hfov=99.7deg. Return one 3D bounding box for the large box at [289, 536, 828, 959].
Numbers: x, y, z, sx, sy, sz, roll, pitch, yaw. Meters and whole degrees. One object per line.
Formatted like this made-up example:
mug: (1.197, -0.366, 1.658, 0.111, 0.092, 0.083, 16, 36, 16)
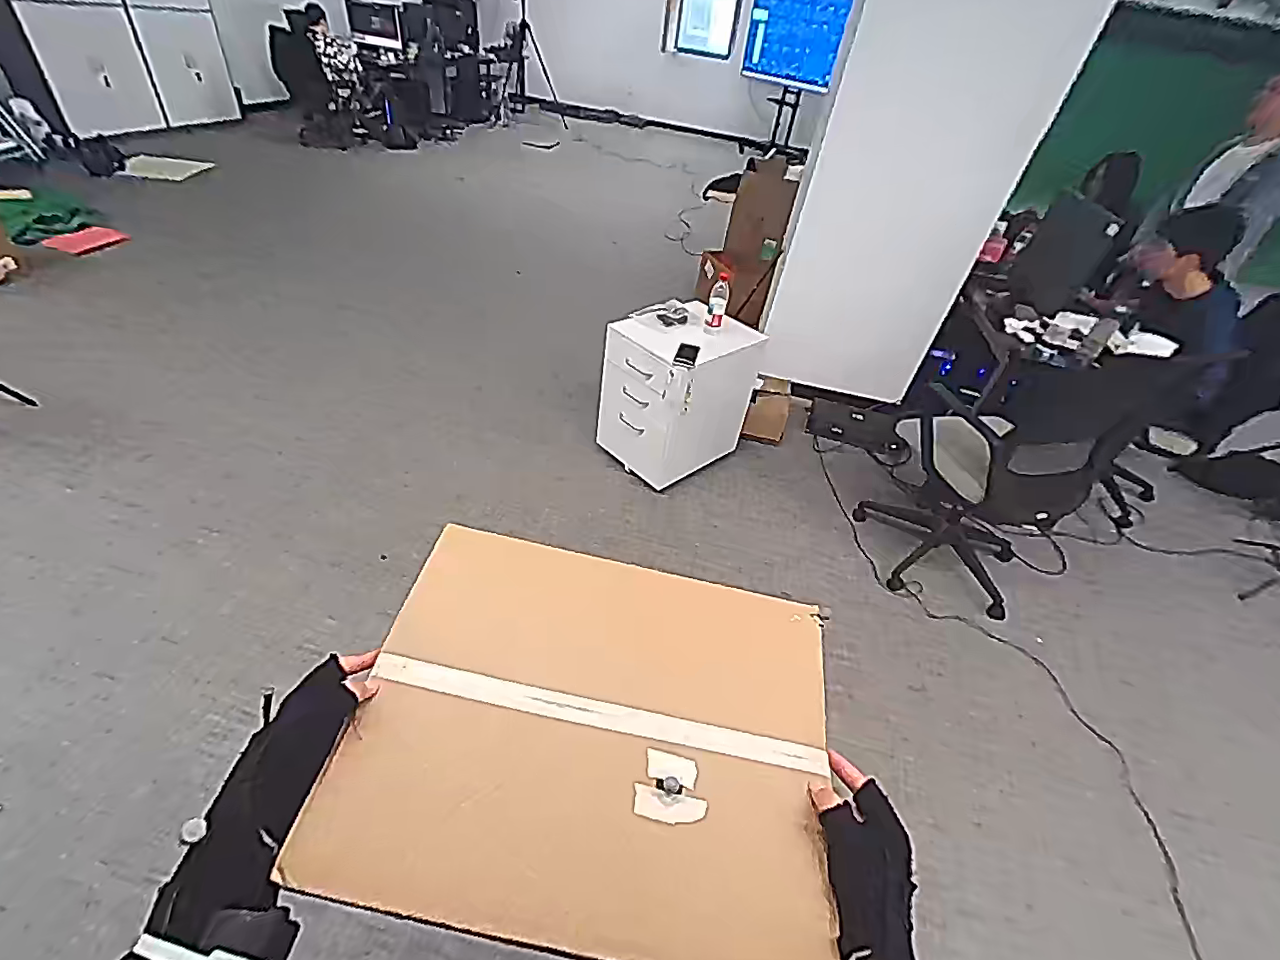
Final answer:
large box: (-0.059, 0.307, 0.593, 0.408, 0.320, 0.320, 13, 50, -1)
